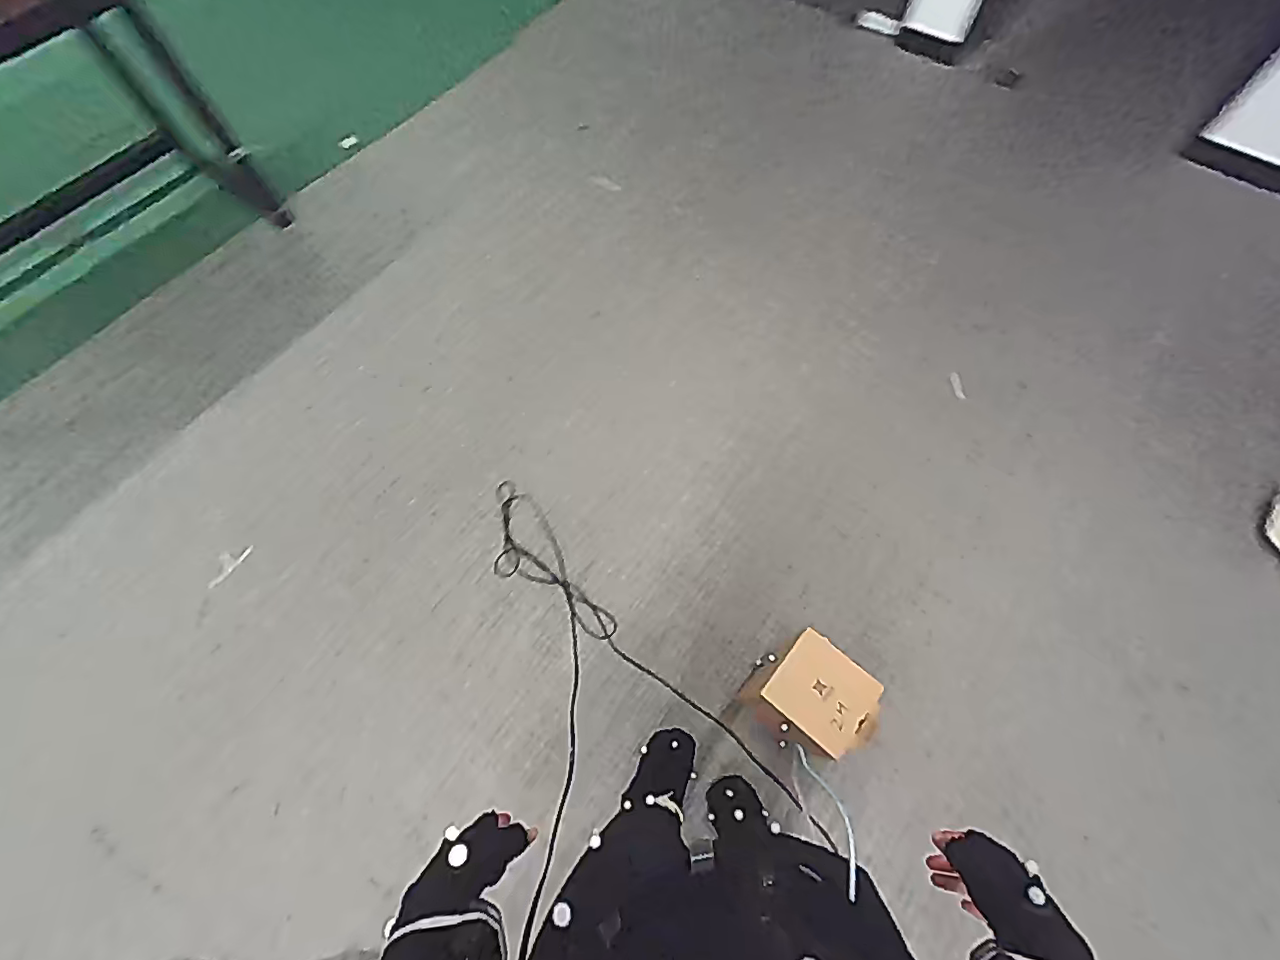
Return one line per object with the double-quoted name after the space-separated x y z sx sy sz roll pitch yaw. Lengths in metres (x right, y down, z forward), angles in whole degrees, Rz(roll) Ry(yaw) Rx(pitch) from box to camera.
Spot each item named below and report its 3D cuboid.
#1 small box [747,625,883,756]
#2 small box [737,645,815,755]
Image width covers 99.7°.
0.338 0.423 1.085 0.179 0.176 0.168 39 71 15 "small box"
0.344 0.484 1.219 0.179 0.176 0.168 41 72 16 "small box"
